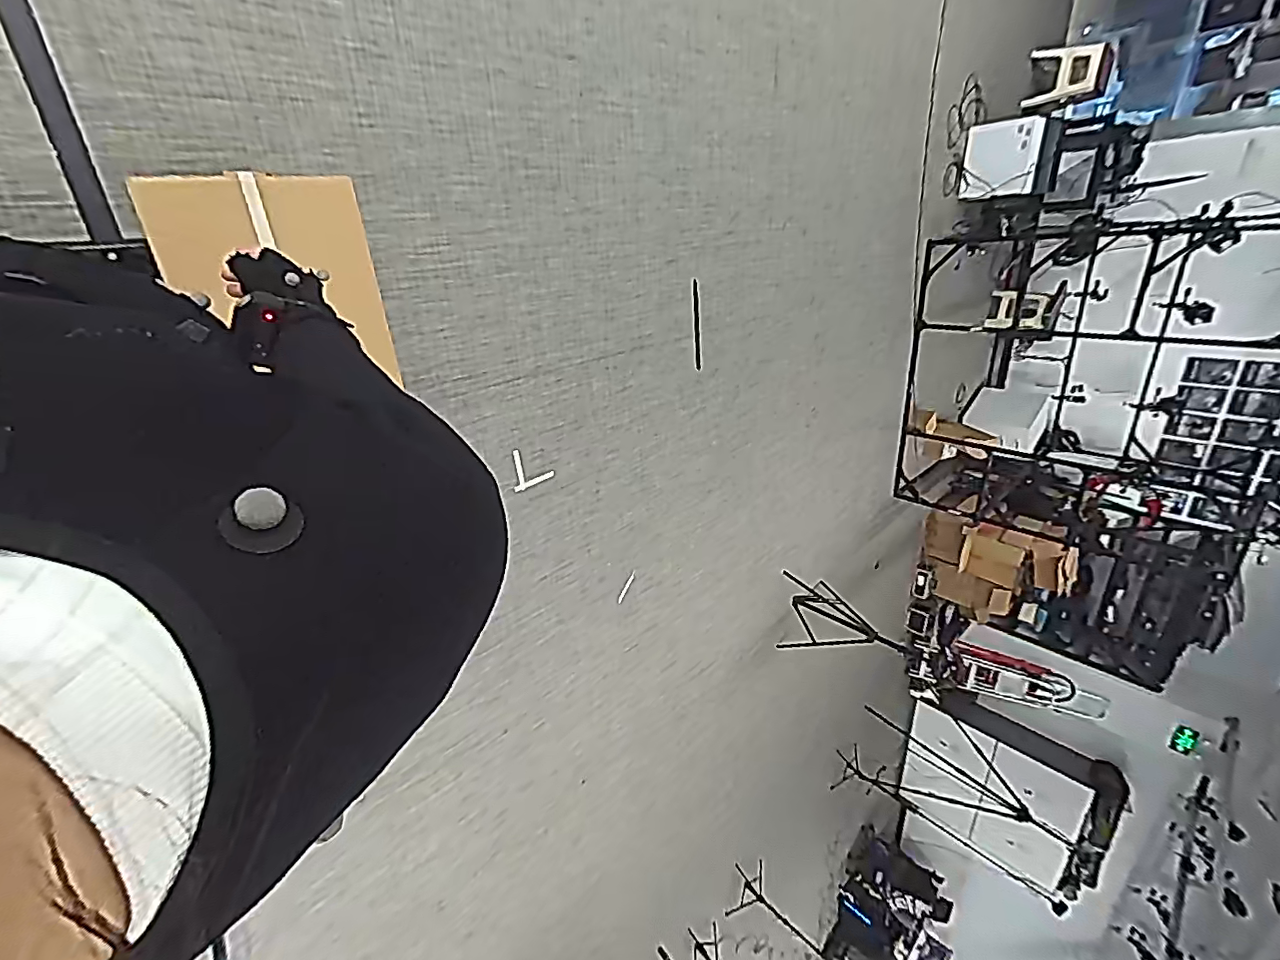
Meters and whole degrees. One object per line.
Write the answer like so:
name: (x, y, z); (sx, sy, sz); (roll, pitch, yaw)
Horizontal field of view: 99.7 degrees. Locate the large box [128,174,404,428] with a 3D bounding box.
large box: (-0.713, -0.362, 1.069); (0.320, 0.320, 0.408); (-20, 120, -31)
